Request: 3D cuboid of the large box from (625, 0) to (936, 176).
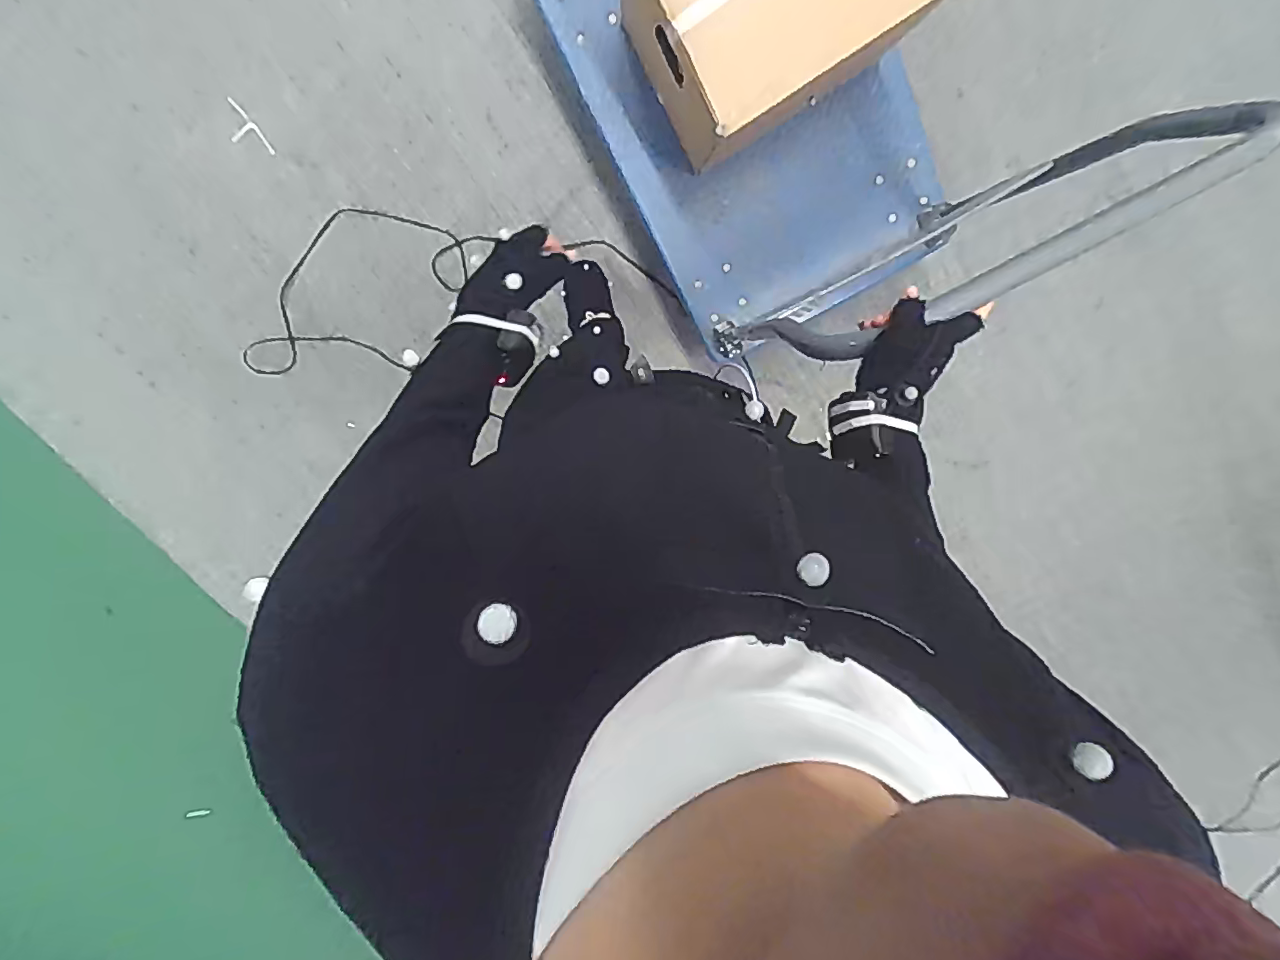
[{"bbox_3d":[0.220,-0.794,0.902,0.408,0.320,0.320,-31,106,10],"label":"large box"}]
